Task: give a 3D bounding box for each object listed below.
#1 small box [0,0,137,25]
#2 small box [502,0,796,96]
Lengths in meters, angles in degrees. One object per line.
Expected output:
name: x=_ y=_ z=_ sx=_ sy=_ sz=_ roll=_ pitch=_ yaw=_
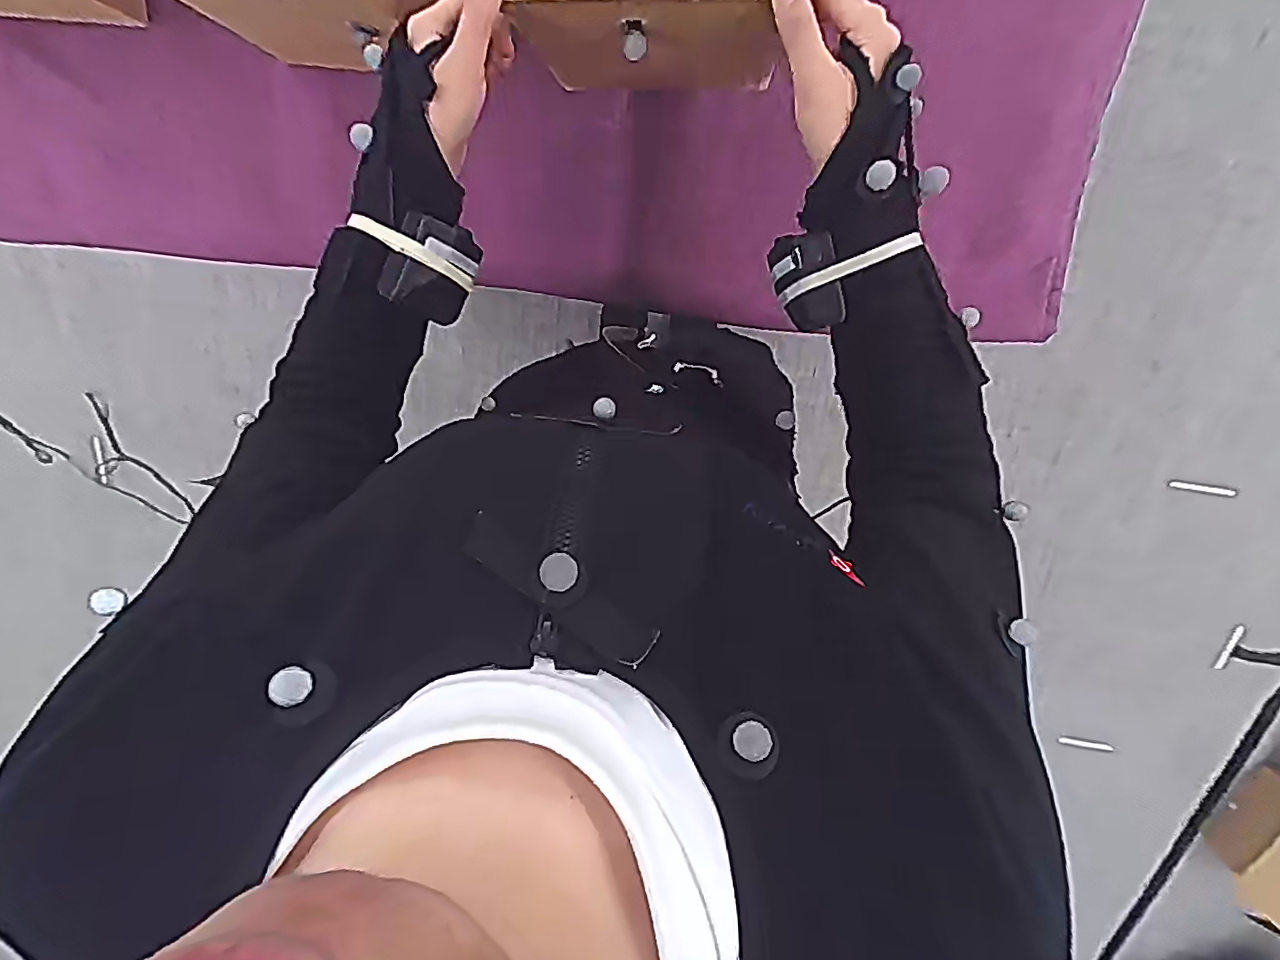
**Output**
small box: x=-0.548 y=-0.493 z=0.420 sx=0.179 sy=0.176 sz=0.168 roll=5 pitch=109 yaw=0
small box: x=0.017 y=-0.377 z=0.355 sx=0.179 sy=0.176 sz=0.168 roll=6 pitch=109 yaw=7
